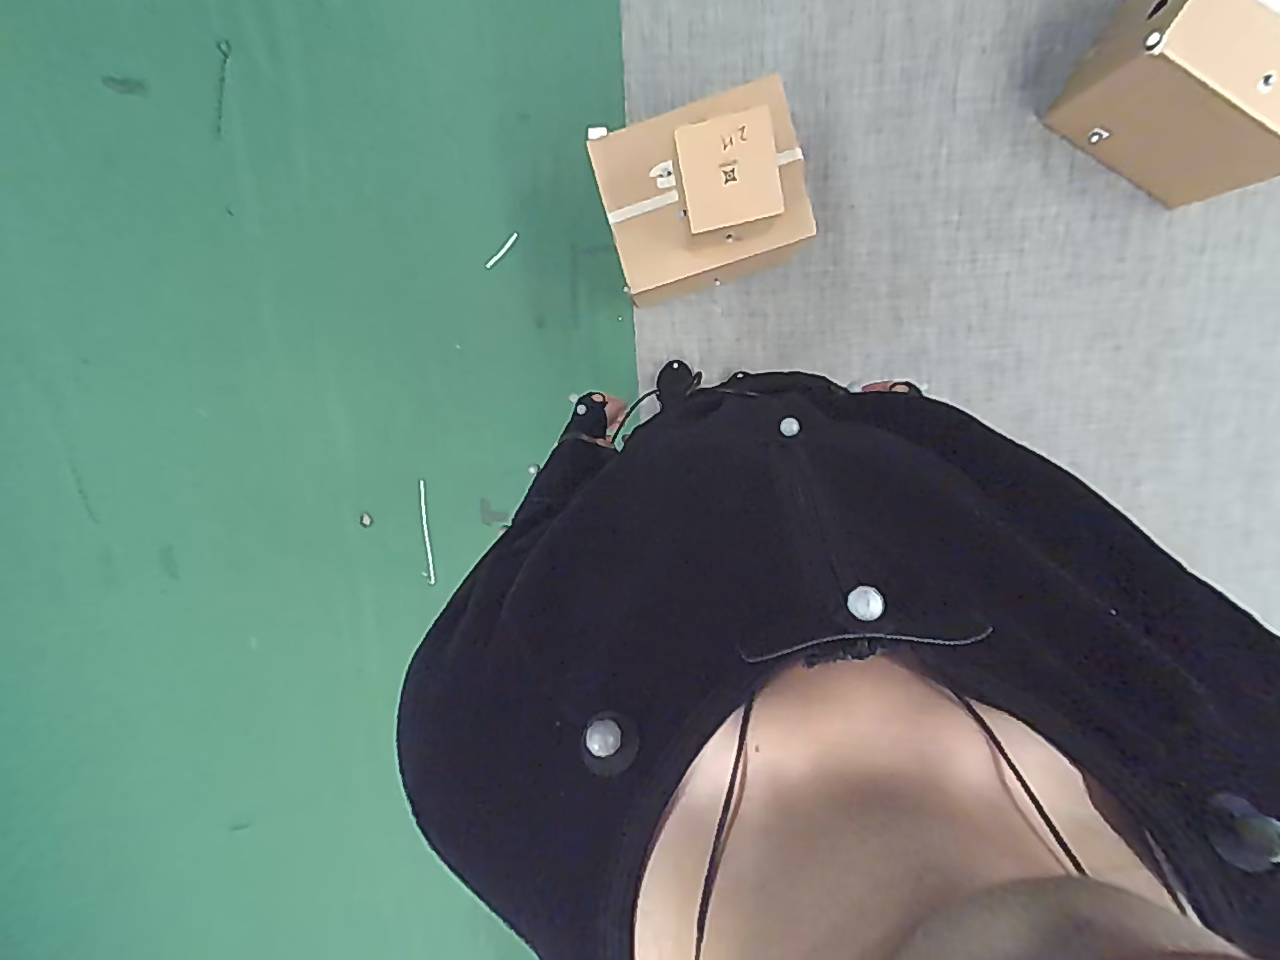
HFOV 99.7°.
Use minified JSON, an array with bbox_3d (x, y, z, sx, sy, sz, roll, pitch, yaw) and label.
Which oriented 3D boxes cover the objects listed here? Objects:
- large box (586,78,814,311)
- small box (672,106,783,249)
[{"bbox_3d":[0.133,-0.611,1.238,0.408,0.320,0.320,-16,99,7],"label":"large box"},{"bbox_3d":[0.155,-0.541,0.998,0.168,0.176,0.179,-11,101,4],"label":"small box"}]
